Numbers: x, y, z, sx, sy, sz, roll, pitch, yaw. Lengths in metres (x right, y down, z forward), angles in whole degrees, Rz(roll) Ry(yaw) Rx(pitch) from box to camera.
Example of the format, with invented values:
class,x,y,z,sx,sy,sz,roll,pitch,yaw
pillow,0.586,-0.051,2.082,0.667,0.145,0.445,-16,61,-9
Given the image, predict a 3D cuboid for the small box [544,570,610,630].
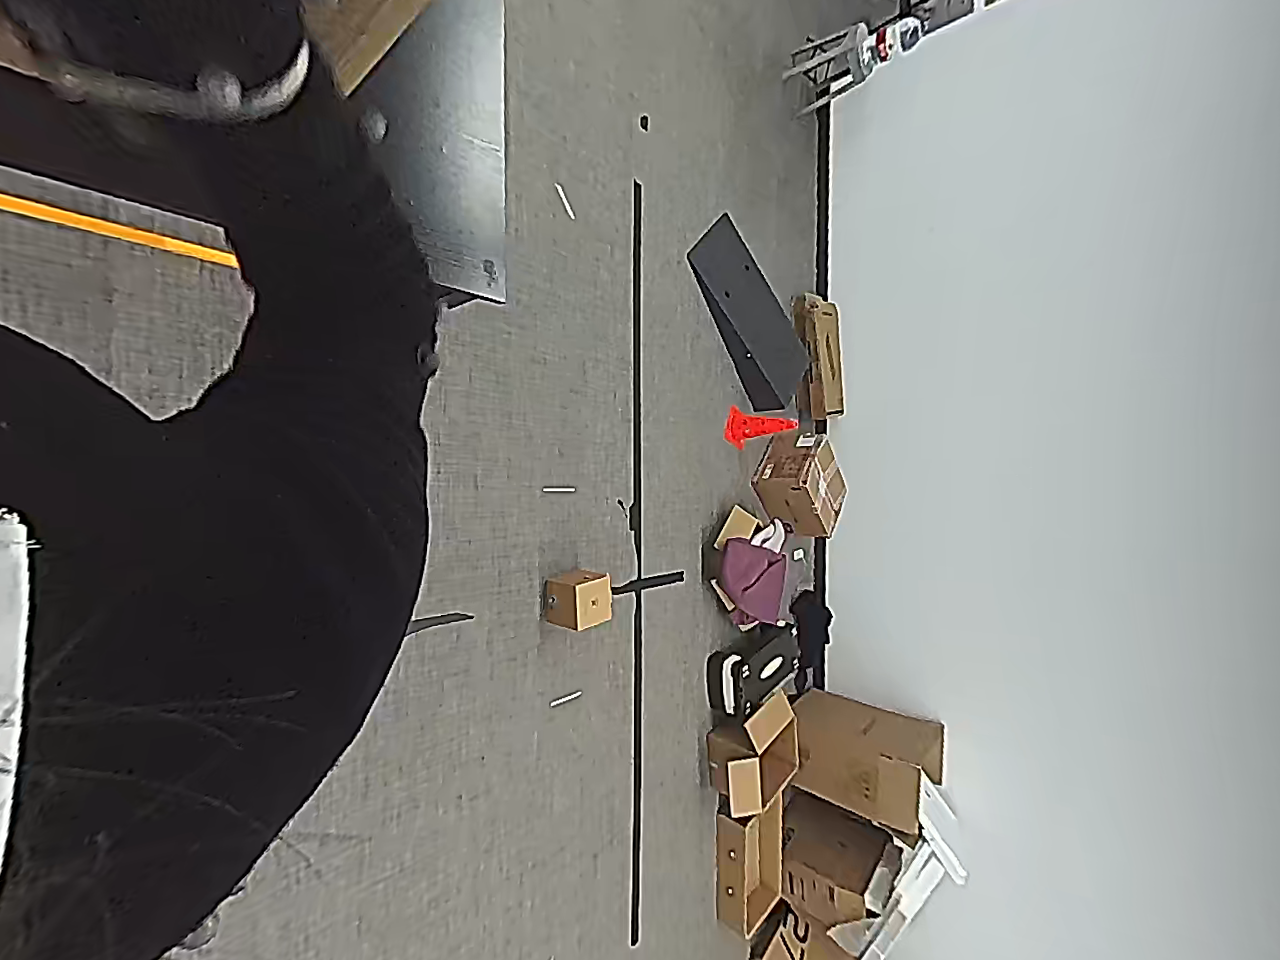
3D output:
class,x,y,z,sx,sy,sz,roll,pitch,yaw
small box,-0.233,0.435,1.992,0.179,0.176,0.168,-7,95,-48
